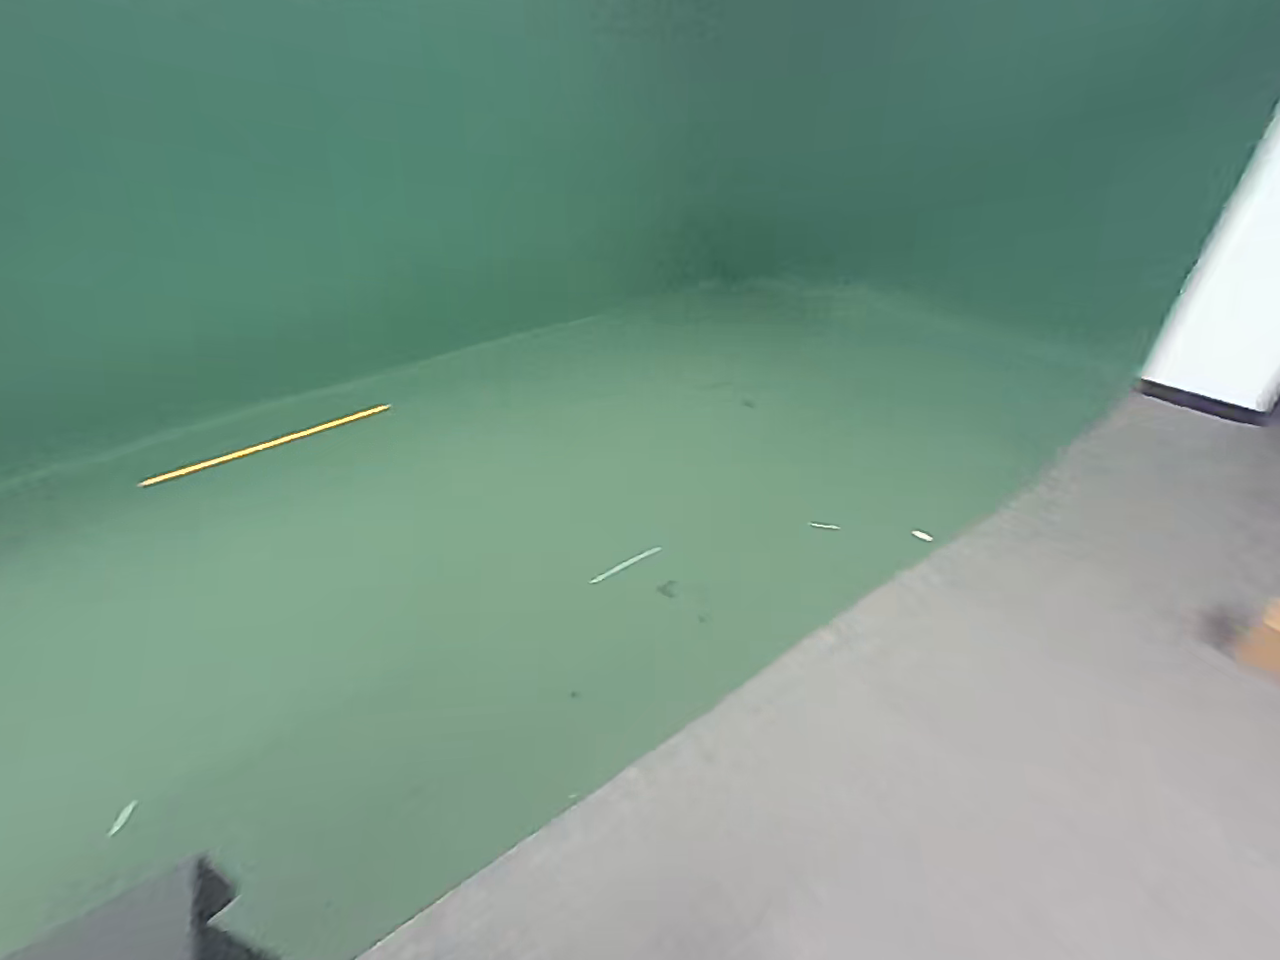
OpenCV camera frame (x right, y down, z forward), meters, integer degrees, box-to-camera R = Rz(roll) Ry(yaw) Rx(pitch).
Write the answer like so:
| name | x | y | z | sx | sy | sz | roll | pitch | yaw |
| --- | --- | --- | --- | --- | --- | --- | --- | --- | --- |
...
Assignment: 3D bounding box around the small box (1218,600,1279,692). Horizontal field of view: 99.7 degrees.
| name | x | y | z | sx | sy | sz | roll | pitch | yaw |
| --- | --- | --- | --- | --- | --- | --- | --- | --- | --- |
| small box | 1.873 | 0.495 | 1.581 | 0.168 | 0.176 | 0.179 | -27 | 42 | -28 |
